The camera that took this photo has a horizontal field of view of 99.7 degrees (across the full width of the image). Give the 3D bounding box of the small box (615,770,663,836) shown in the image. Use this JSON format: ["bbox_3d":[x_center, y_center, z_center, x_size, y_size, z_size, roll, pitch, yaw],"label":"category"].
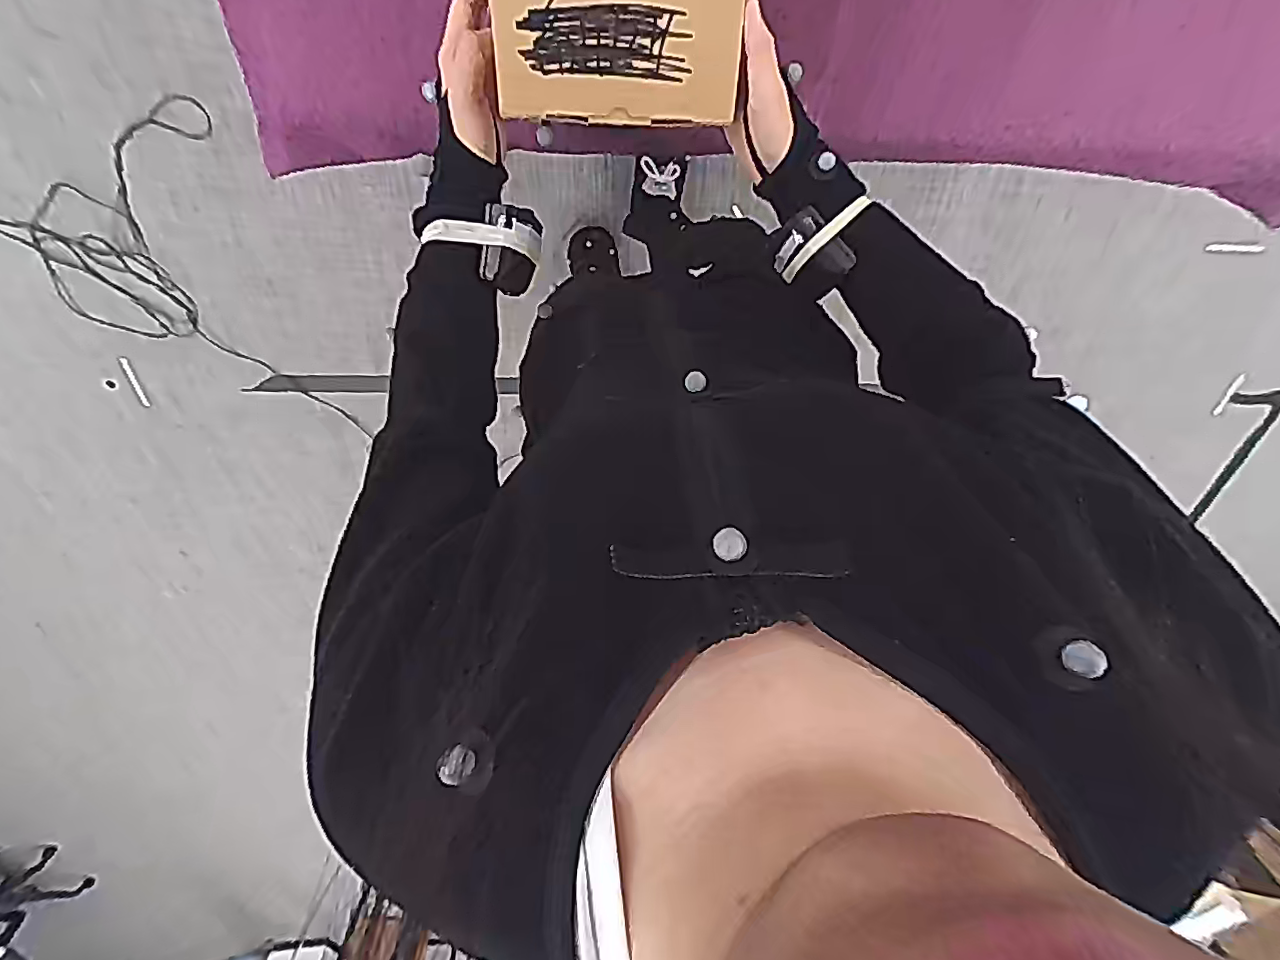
[{"bbox_3d":[-0.007,1.246,2.090,0.179,0.176,0.168,-1,123,-2],"label":"small box"}]

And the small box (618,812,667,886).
[{"bbox_3d":[0.006,1.329,1.951,0.168,0.176,0.179,-1,123,-4],"label":"small box"}]
